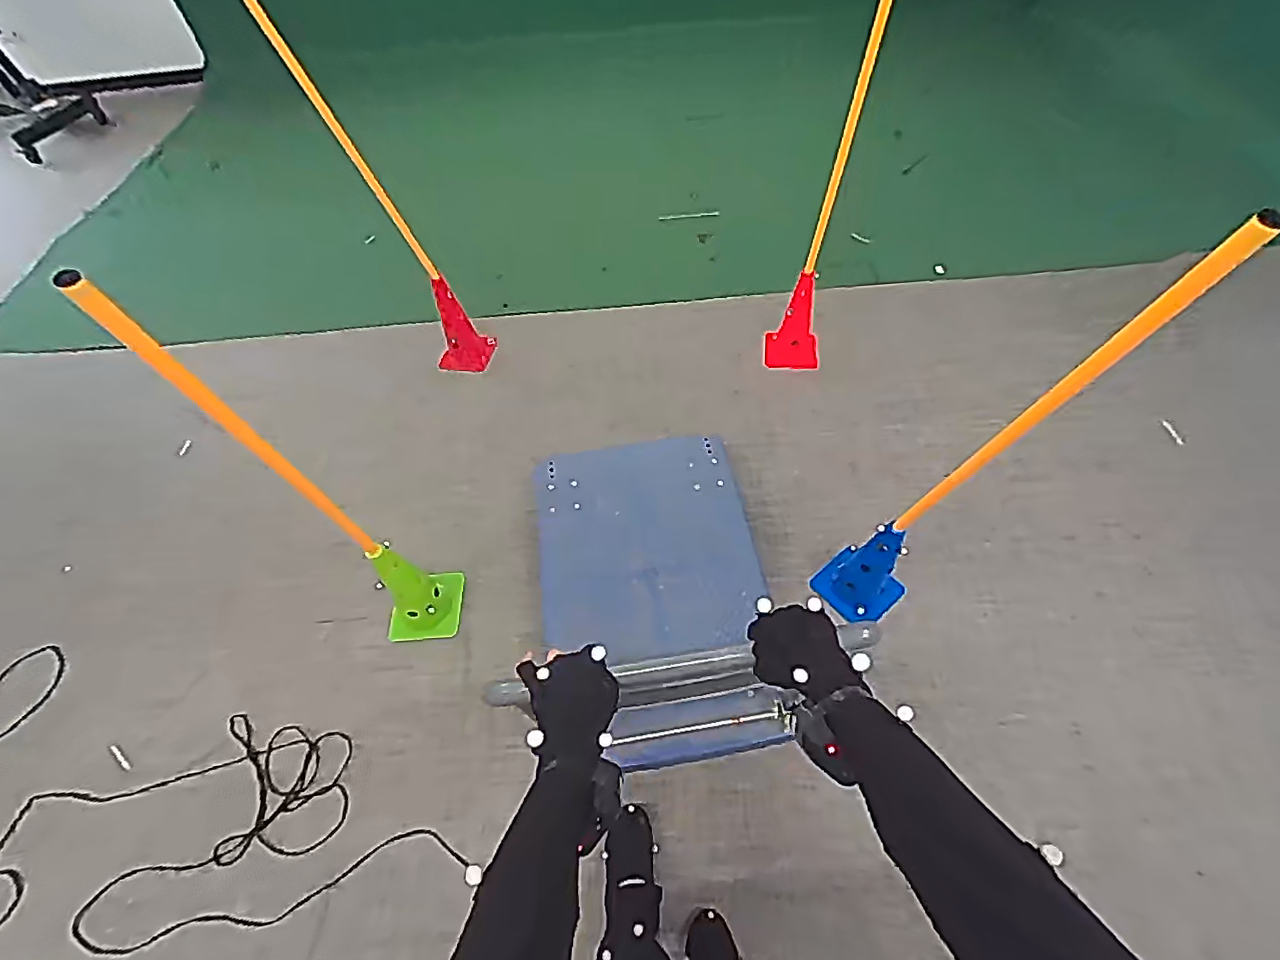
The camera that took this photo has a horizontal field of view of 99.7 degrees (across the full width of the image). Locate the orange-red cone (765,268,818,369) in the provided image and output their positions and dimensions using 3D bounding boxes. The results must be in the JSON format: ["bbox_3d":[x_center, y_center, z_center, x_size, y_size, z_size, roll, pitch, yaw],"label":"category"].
[{"bbox_3d":[0.578,-0.601,1.964,0.198,0.360,0.199,5,57,8],"label":"orange-red cone"}]
